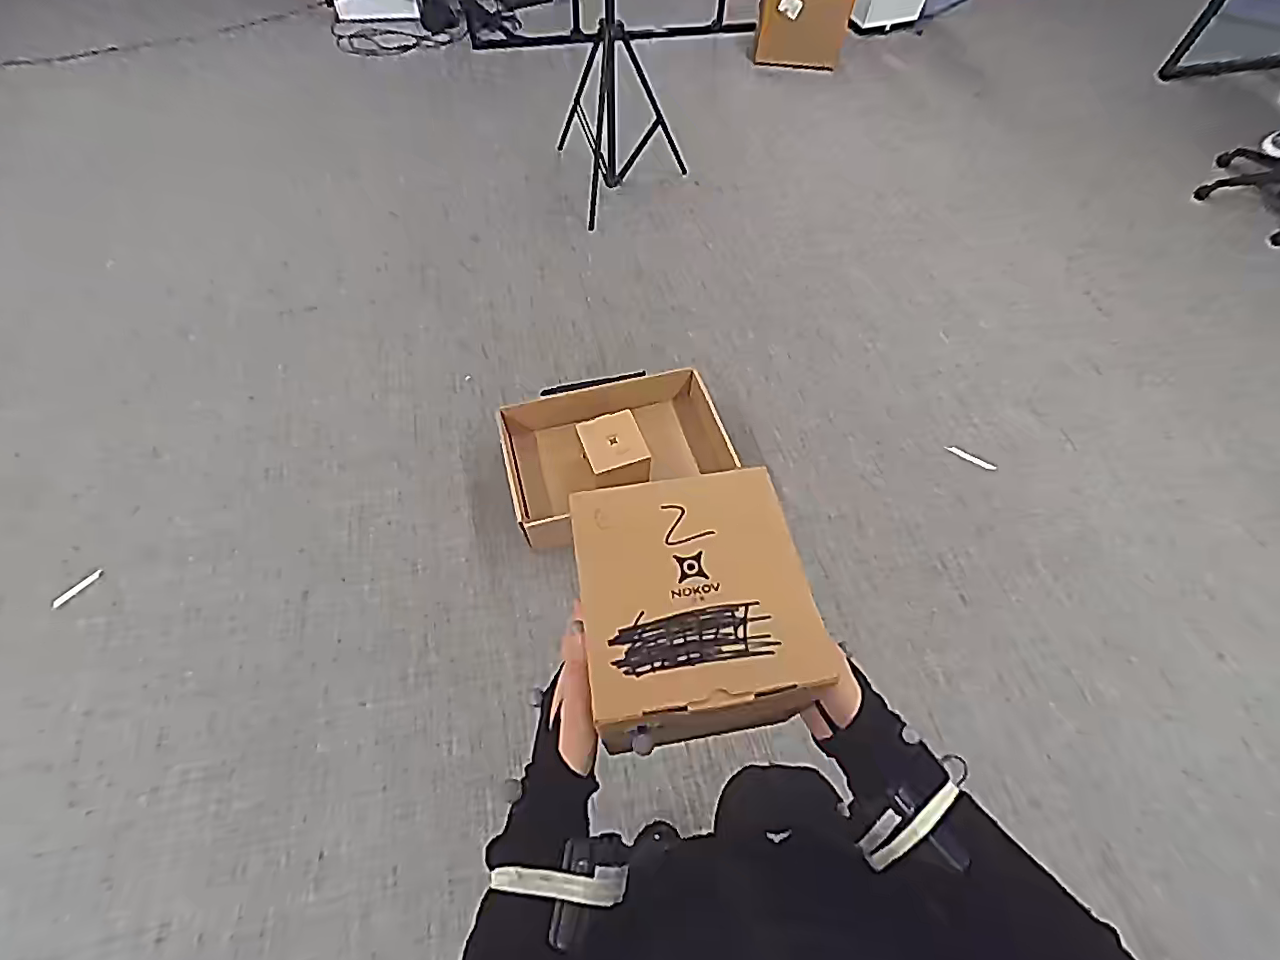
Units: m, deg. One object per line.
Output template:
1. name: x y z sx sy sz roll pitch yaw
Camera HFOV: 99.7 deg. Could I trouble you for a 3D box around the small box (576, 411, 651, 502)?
1. small box: -0.079 -0.064 1.559 0.168 0.176 0.179 -19 63 -12
